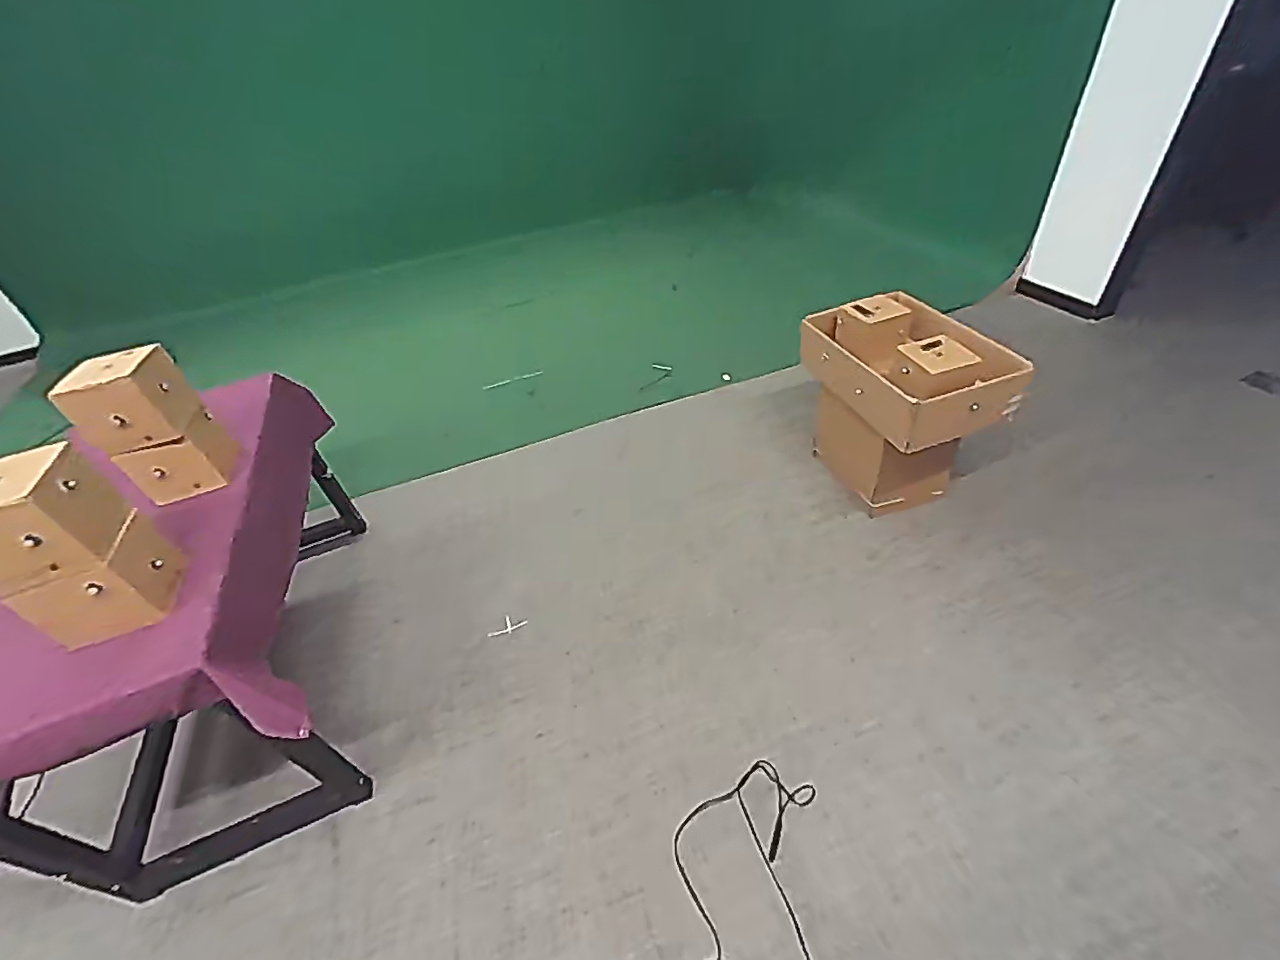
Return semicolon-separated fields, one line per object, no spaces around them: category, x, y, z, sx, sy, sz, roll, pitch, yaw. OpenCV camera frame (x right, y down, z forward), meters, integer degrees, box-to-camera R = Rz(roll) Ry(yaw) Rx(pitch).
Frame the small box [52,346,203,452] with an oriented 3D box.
small box;-1.178;-0.183;1.264;0.168;0.176;0.179;-17;42;-7

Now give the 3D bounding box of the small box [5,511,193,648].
small box;-1.037;0.195;1.061;0.179;0.176;0.168;-19;42;-9

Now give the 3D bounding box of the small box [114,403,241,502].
small box;-1.161;-0.064;1.378;0.168;0.176;0.179;-20;42;-10

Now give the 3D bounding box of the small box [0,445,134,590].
small box;-1.062;0.072;0.957;0.168;0.176;0.179;-19;42;-11
